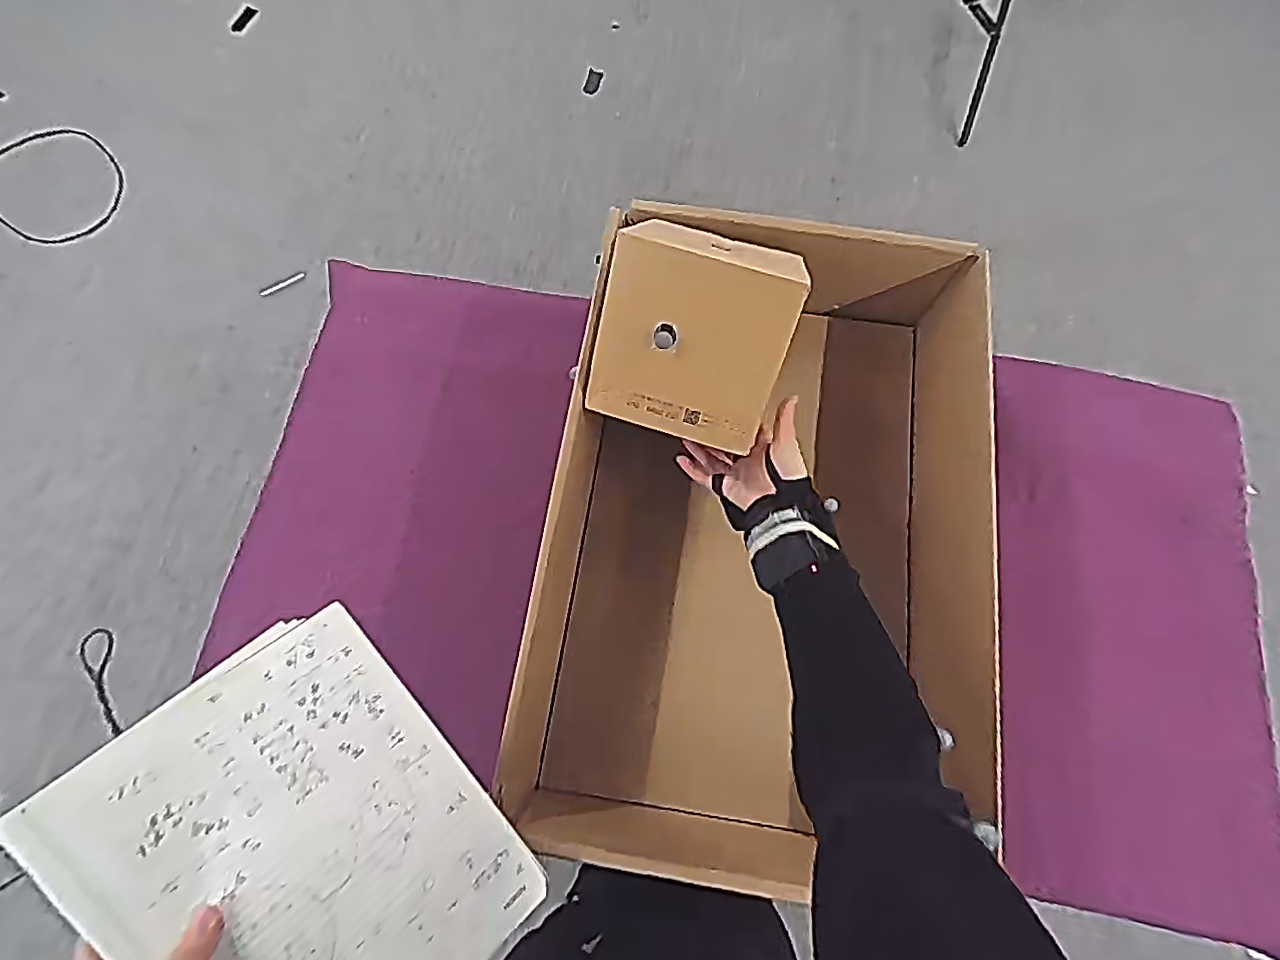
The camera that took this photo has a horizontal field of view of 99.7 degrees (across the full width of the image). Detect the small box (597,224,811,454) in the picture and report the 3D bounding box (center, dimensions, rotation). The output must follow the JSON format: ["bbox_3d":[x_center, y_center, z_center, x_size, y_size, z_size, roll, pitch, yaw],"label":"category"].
[{"bbox_3d":[0.061,-0.146,0.549,0.168,0.179,0.176,17,120,4],"label":"small box"}]
